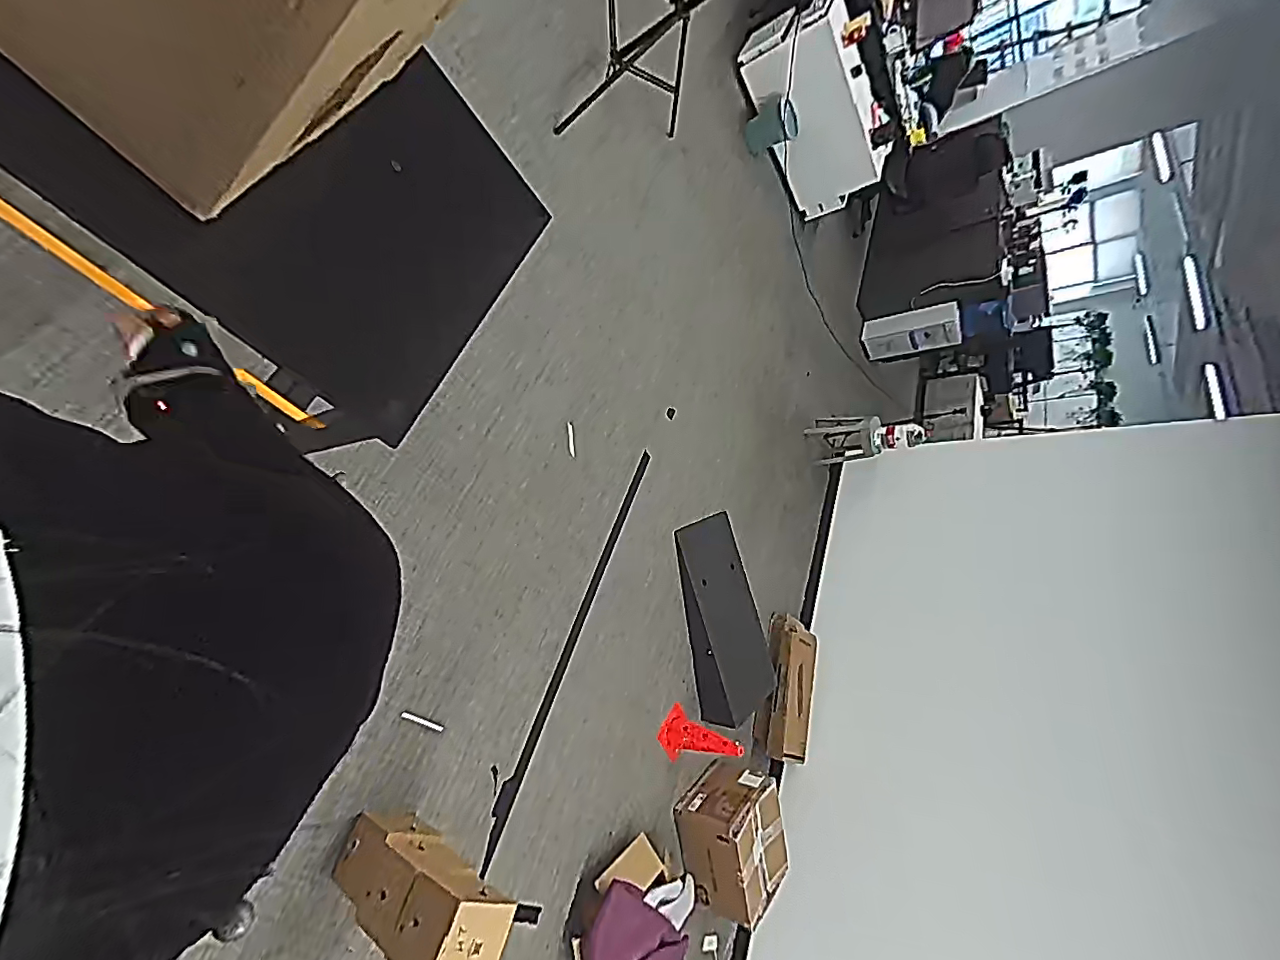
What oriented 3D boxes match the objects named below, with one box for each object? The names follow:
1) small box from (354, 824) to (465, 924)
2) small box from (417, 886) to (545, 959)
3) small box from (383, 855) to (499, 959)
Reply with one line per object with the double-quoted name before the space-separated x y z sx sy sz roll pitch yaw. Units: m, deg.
"small box" -0.599 1.019 1.409 0.179 0.176 0.168 39 58 -41
"small box" -0.350 1.027 1.191 0.179 0.176 0.168 44 54 -40
"small box" -0.479 1.026 1.297 0.179 0.176 0.168 38 59 -42
